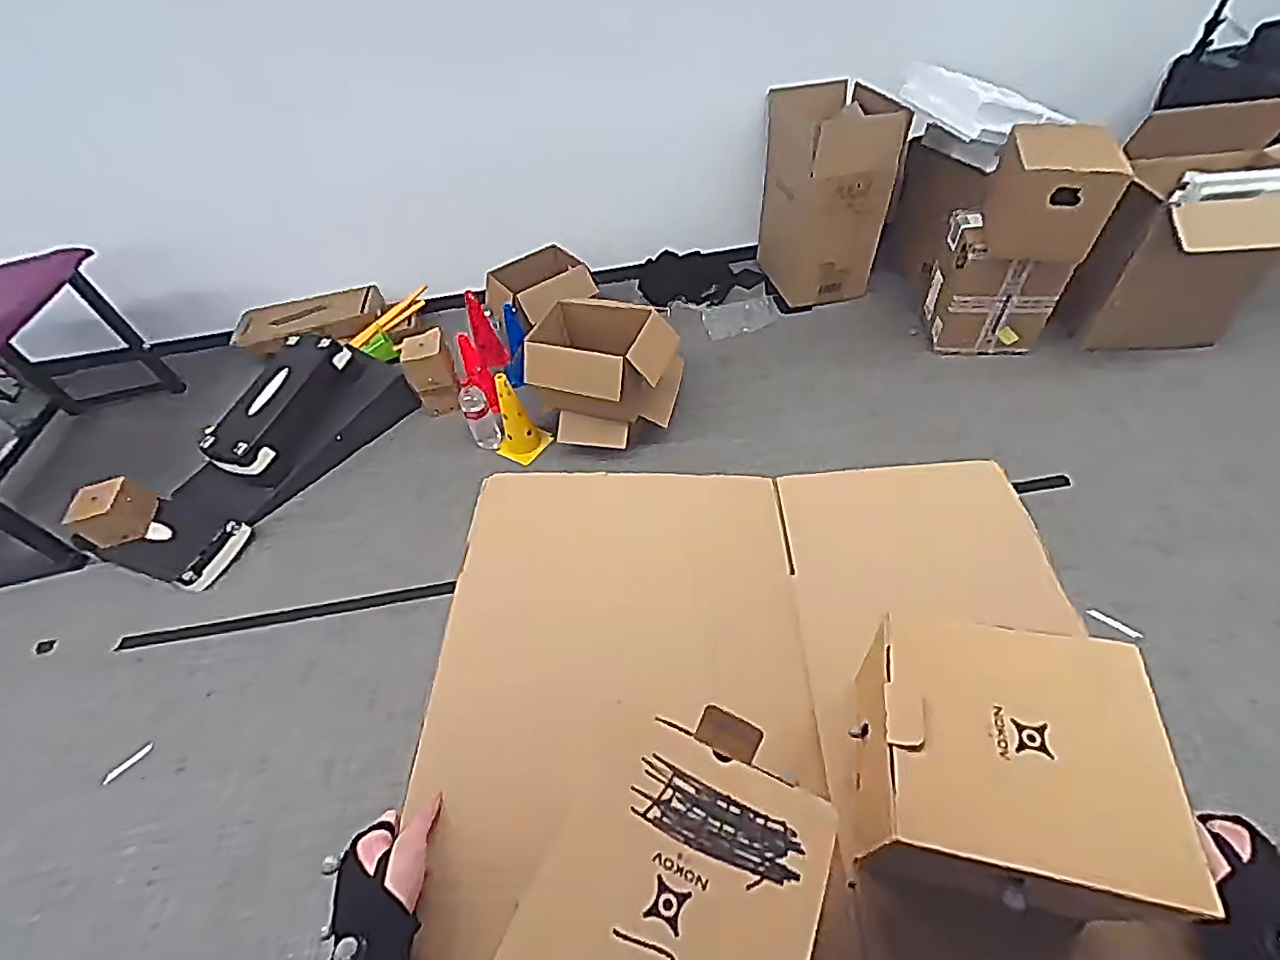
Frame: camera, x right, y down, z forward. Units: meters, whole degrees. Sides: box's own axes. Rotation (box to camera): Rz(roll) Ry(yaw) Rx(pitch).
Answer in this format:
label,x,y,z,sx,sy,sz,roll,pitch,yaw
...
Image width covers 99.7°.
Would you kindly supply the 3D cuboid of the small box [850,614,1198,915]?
label,x,y,z,sx,sy,sz,roll,pitch,yaw
small box,0.280,0.233,0.449,0.179,0.176,0.168,4,53,16
